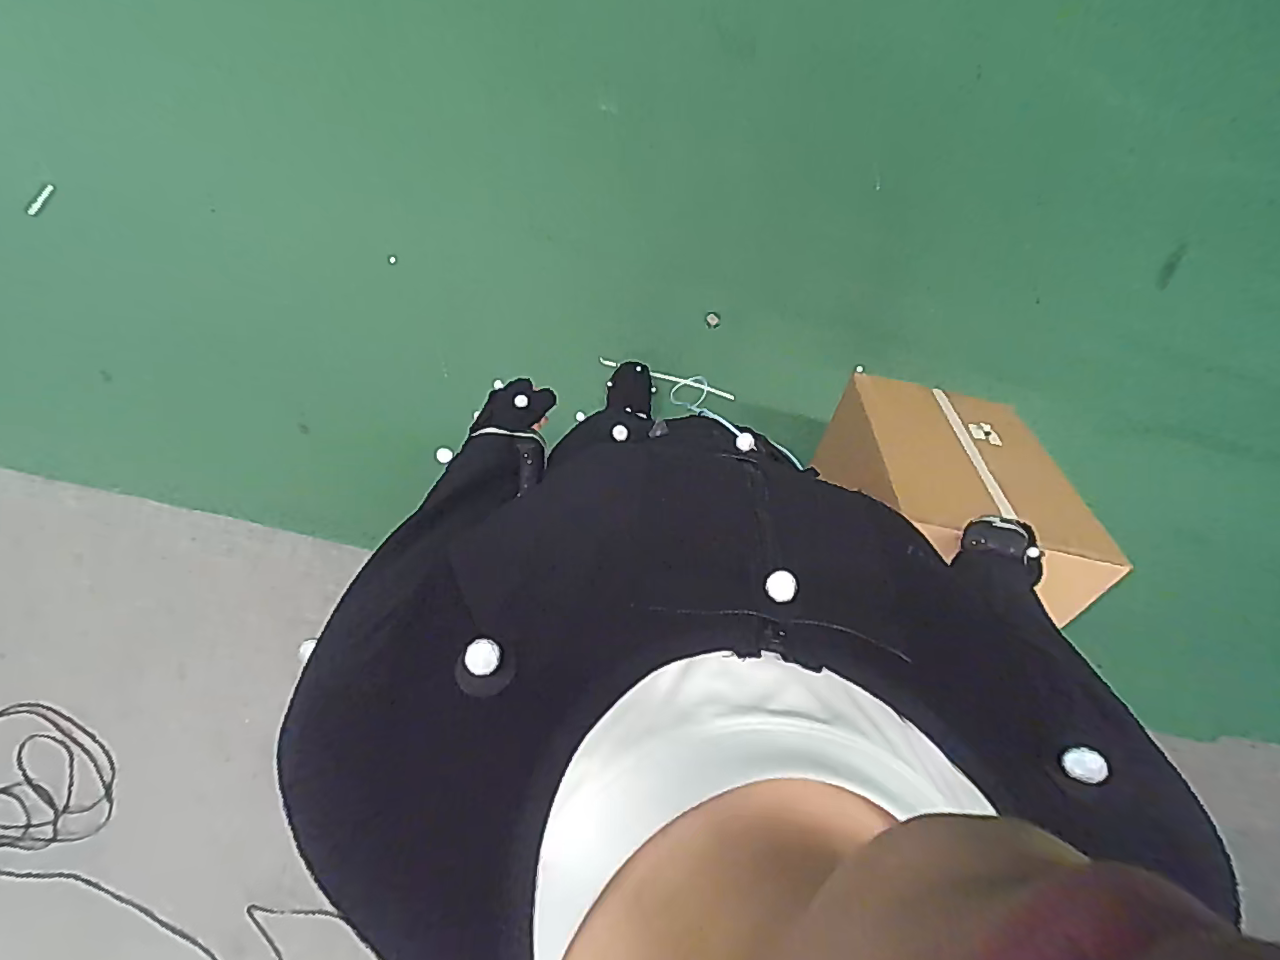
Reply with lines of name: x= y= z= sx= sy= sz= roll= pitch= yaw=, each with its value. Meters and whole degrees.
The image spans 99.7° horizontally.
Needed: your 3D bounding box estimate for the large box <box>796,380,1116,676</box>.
large box: x=0.497 y=0.076 z=0.973 sx=0.320 sy=0.408 sz=0.320 roll=13 pitch=129 yaw=-1
